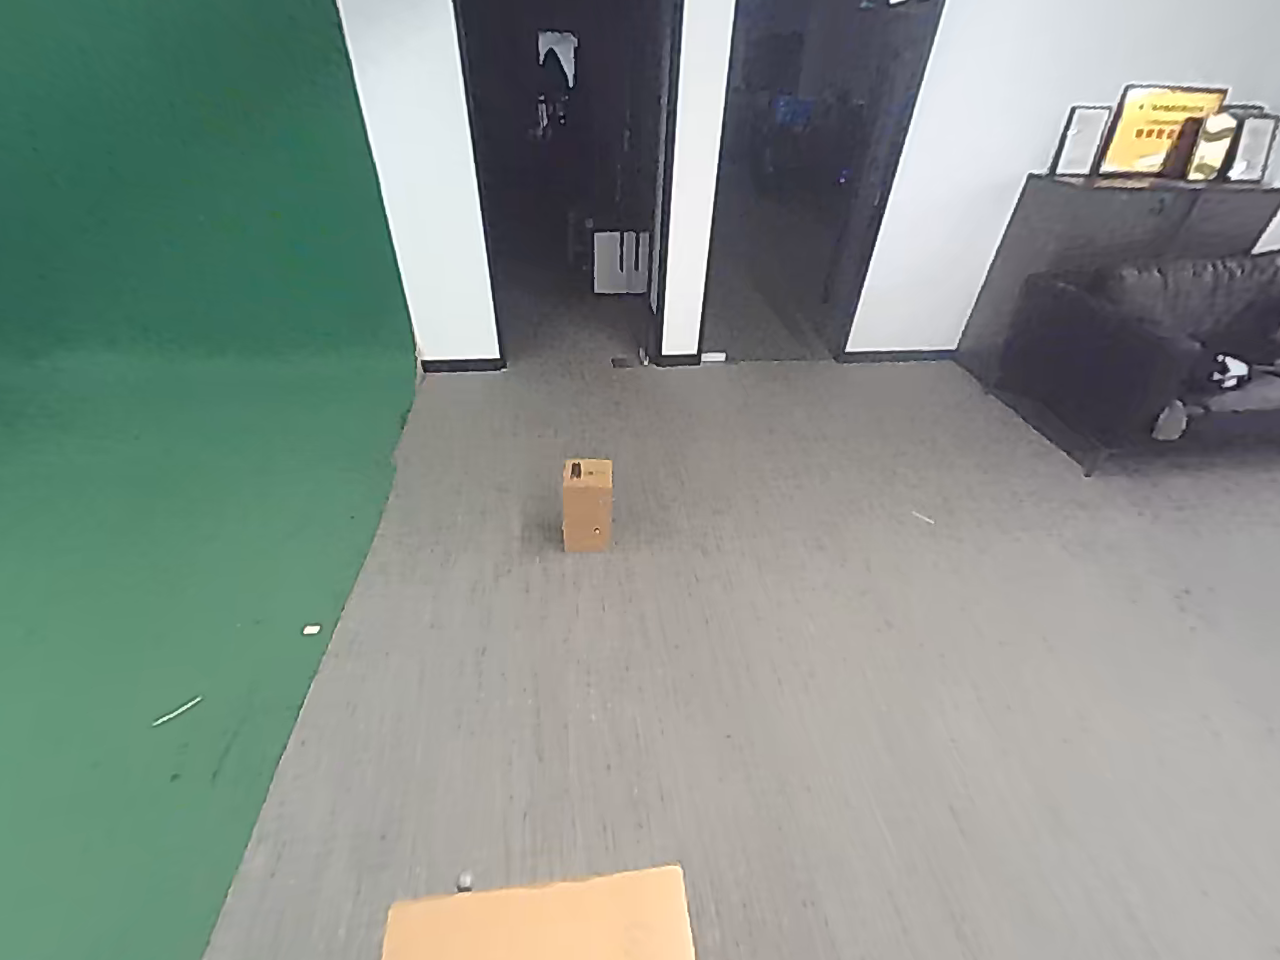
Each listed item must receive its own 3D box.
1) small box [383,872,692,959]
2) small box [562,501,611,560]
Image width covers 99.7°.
[{"bbox_3d":[-0.059,0.361,0.334,0.179,0.176,0.168,-2,48,-9],"label":"small box"},{"bbox_3d":[-0.205,0.199,2.103,0.179,0.176,0.168,1,37,-2],"label":"small box"}]
